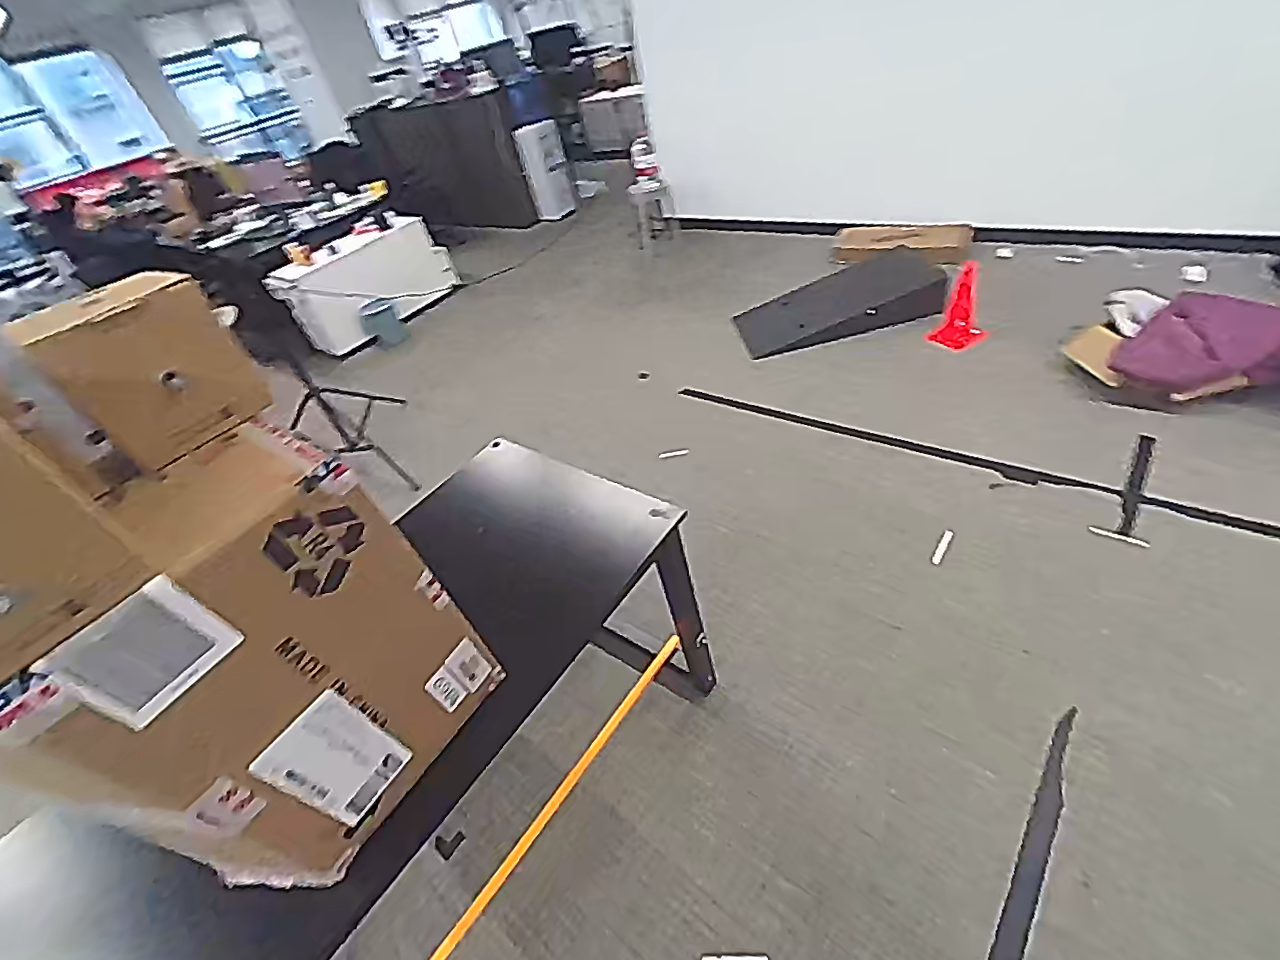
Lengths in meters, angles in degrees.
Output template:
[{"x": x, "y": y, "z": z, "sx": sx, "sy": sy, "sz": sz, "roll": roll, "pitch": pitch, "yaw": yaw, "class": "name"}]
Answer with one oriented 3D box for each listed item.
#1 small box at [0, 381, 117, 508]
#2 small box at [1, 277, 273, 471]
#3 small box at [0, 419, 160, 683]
[{"x": -0.733, "y": -0.011, "z": 0.577, "sx": 0.179, "sy": 0.176, "sz": 0.168, "roll": 13, "pitch": 48, "yaw": 31, "class": "small box"}, {"x": -0.610, "y": -0.134, "z": 0.675, "sx": 0.179, "sy": 0.176, "sz": 0.168, "roll": 18, "pitch": 49, "yaw": 32, "class": "small box"}, {"x": -0.564, "y": 0.053, "z": 0.445, "sx": 0.179, "sy": 0.176, "sz": 0.168, "roll": 17, "pitch": 49, "yaw": 31, "class": "small box"}]
